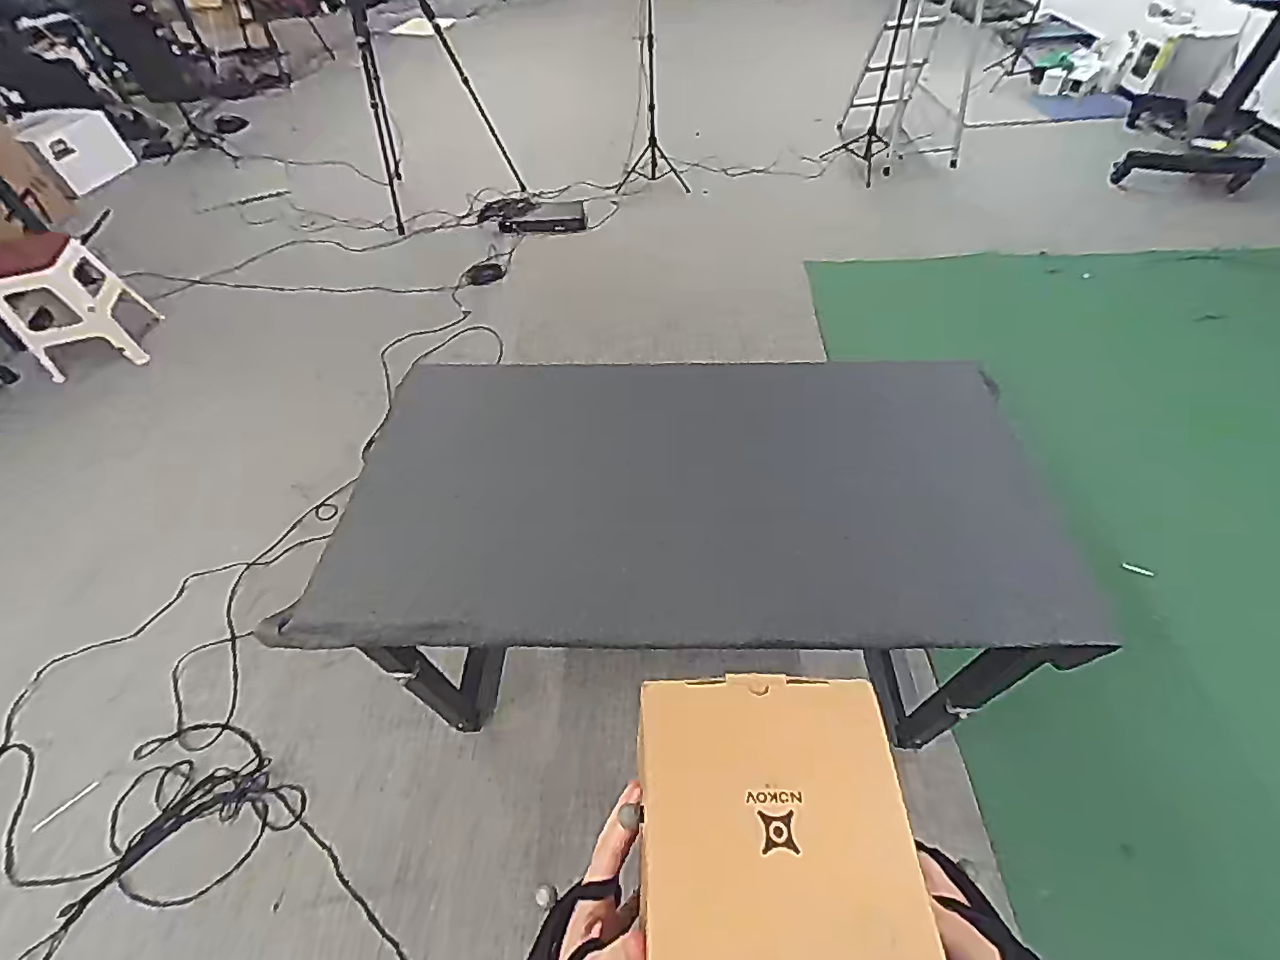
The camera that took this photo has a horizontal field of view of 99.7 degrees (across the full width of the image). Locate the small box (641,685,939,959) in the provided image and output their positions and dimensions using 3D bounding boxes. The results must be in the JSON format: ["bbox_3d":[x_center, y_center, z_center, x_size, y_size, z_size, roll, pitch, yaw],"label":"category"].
[{"bbox_3d":[0.085,0.266,0.401,0.168,0.176,0.179,0,51,-1],"label":"small box"}]
